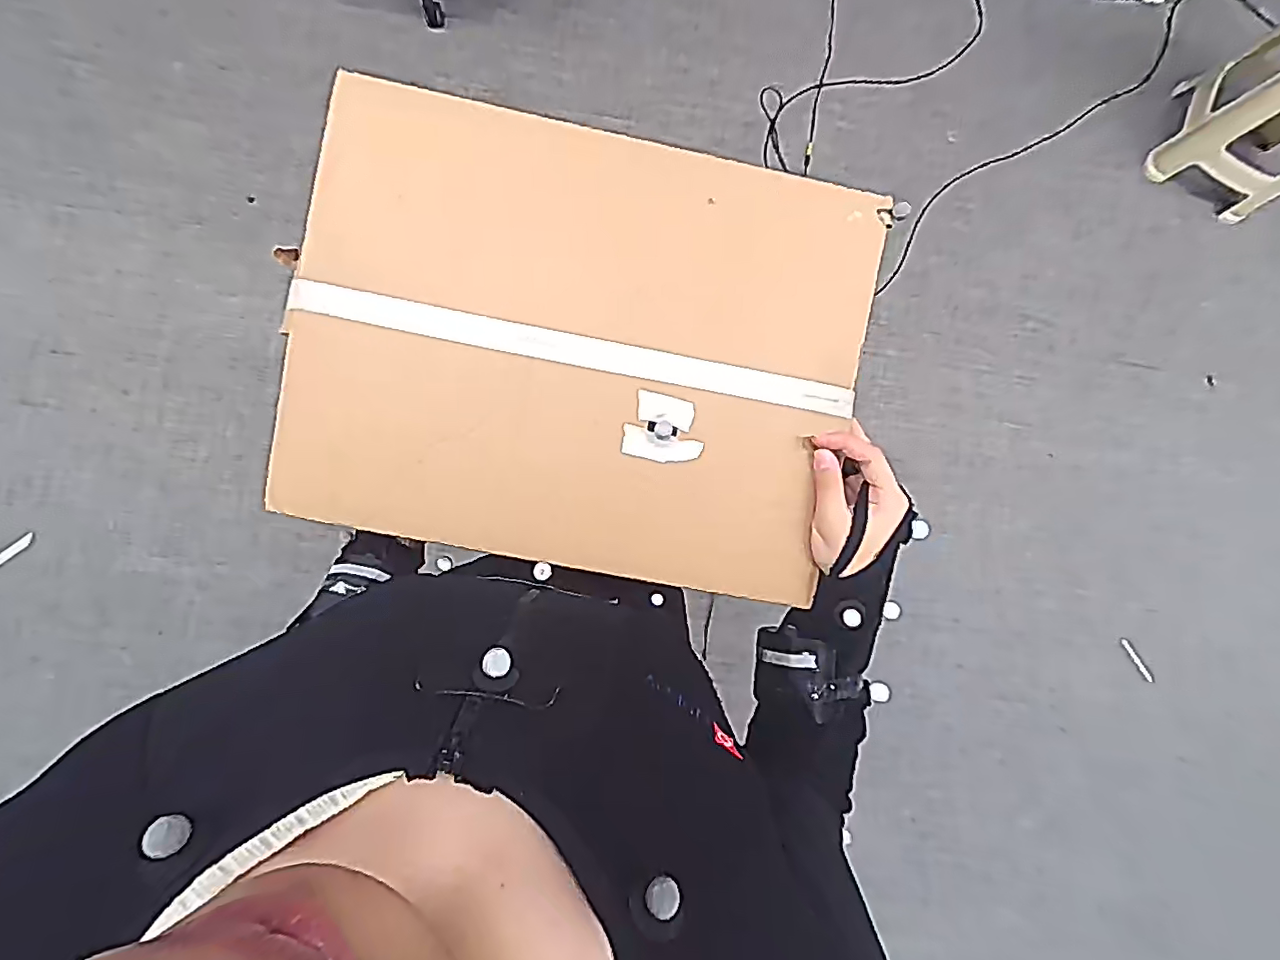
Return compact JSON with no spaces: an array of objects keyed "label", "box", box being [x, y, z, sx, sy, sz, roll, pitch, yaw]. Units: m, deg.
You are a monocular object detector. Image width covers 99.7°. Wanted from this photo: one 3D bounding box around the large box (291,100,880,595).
[{"label":"large box","box":[-0.047,-0.096,0.550,0.408,0.320,0.320,10,92,-5]}]
